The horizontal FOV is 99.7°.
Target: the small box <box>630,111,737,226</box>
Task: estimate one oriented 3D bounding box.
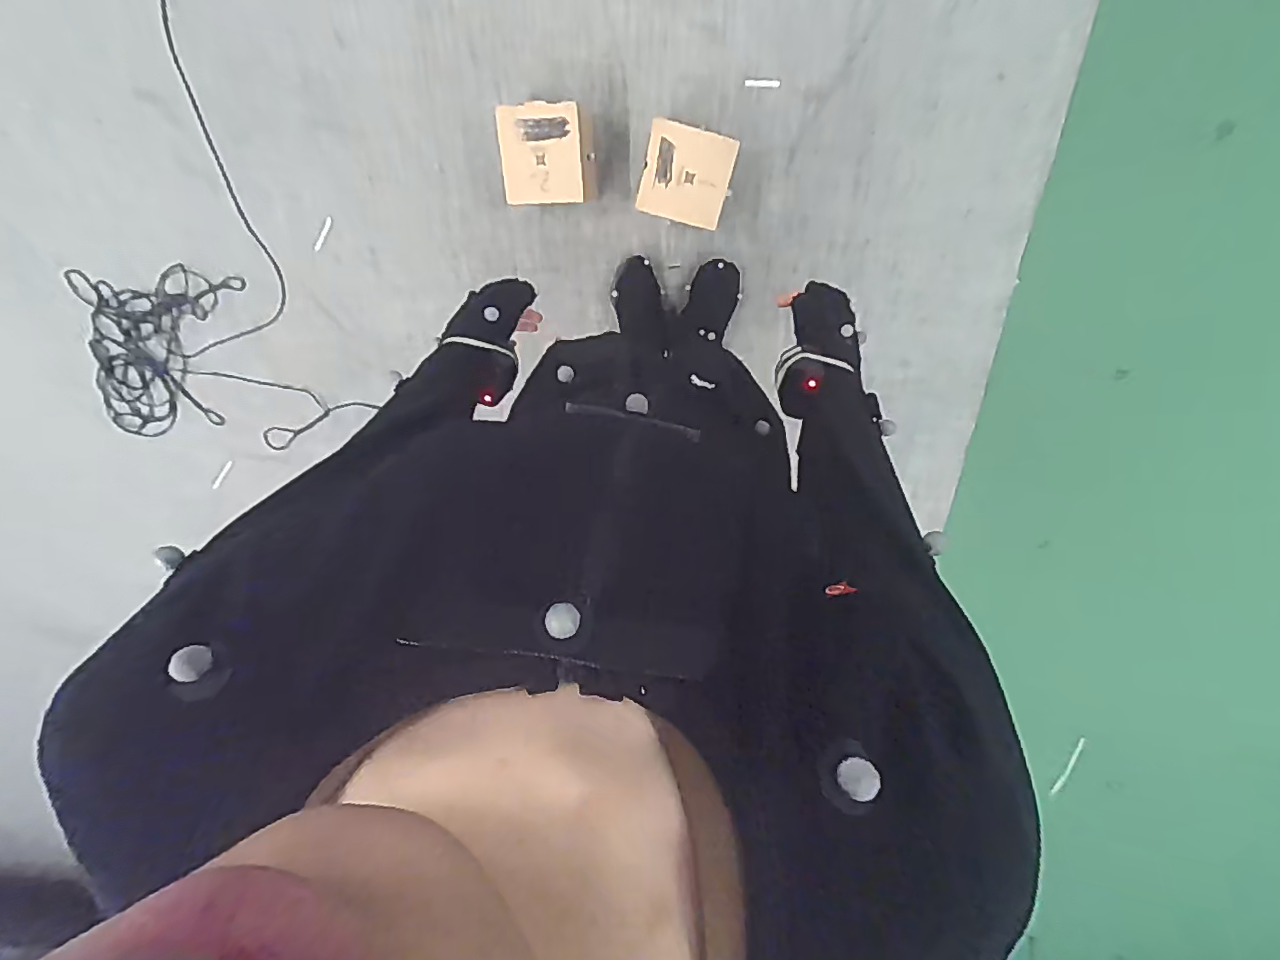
[{"bbox_3d":[0.090,-0.647,1.137,0.179,0.176,0.168,15,118,-3],"label":"small box"}]
